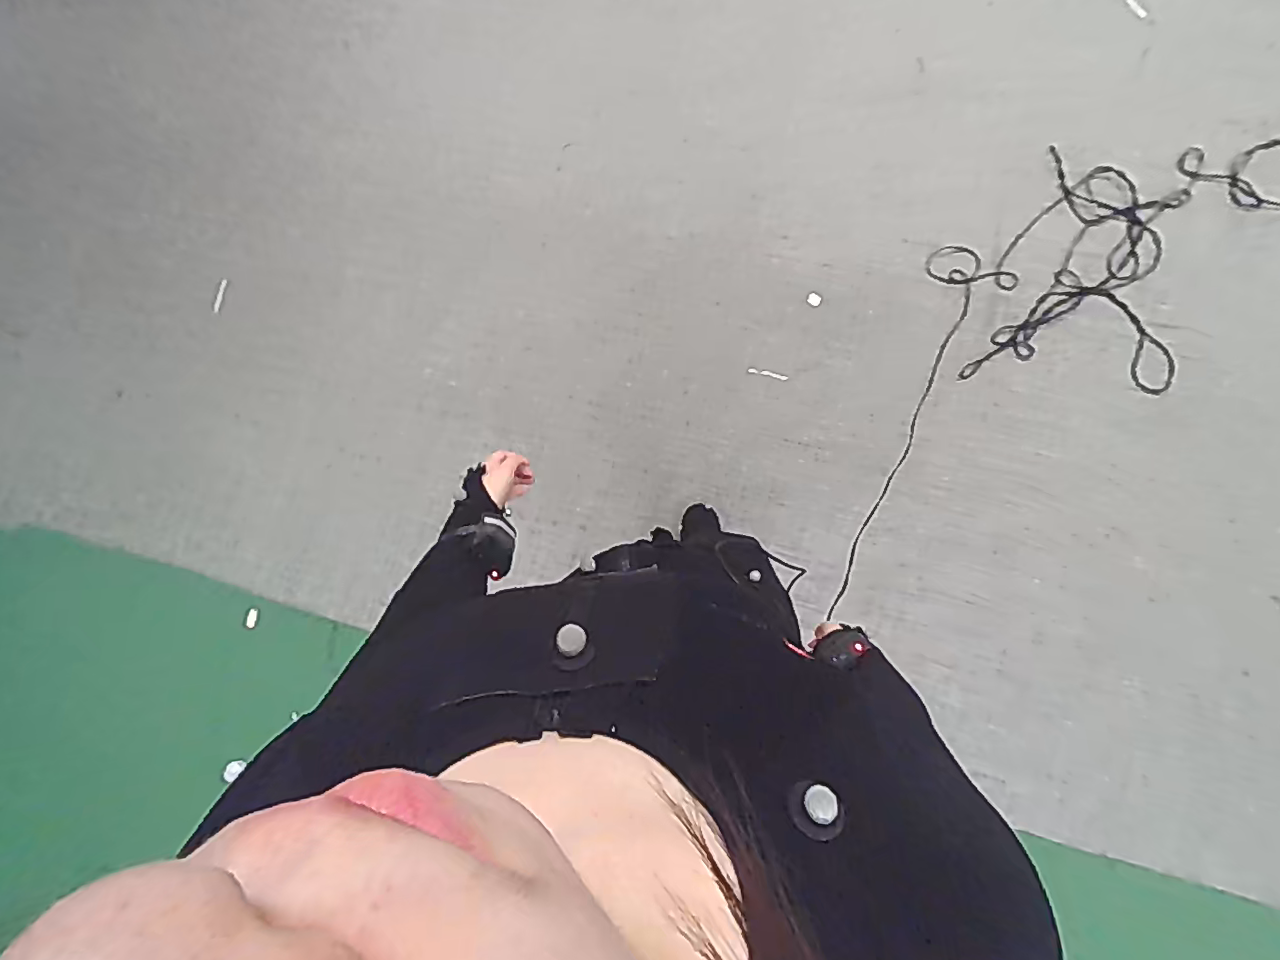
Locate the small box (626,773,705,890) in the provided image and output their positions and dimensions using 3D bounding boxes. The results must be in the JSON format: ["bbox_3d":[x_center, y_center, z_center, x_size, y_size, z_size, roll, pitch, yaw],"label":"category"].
[{"bbox_3d":[0.068,0.887,1.383,0.168,0.176,0.179,11,88,7],"label":"small box"}]
